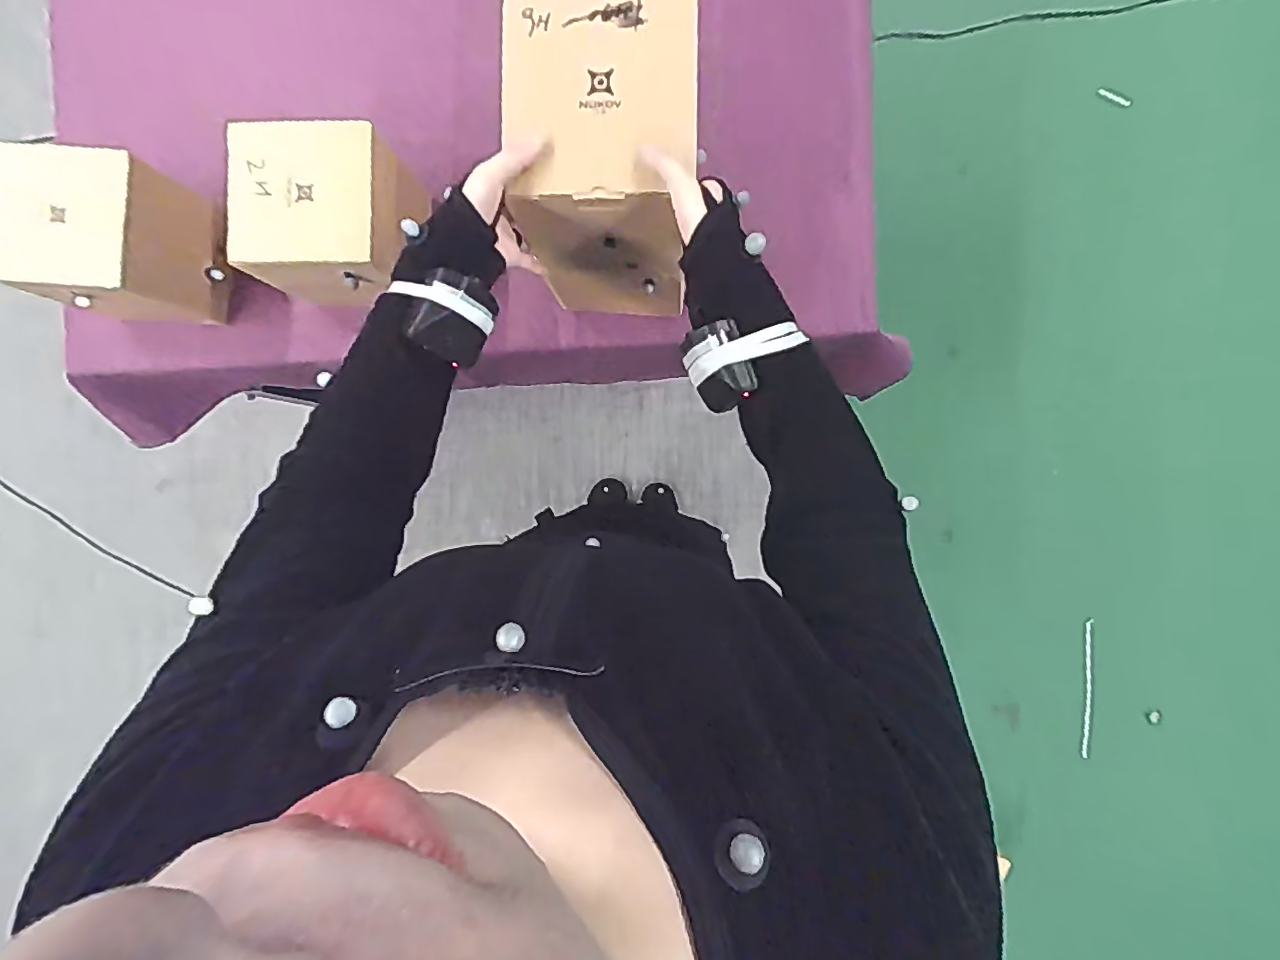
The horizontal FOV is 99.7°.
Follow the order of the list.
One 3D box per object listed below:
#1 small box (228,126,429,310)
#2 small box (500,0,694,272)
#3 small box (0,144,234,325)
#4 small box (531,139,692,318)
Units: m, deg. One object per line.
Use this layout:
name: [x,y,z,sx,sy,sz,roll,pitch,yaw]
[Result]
small box: [-0.395,-0.333,0.715,0.179,0.176,0.168,1,90,2]
small box: [-0.034,-0.319,0.537,0.168,0.176,0.179,1,91,2]
small box: [-0.695,-0.316,0.728,0.179,0.176,0.168,5,91,2]
small box: [-0.030,-0.319,0.701,0.179,0.176,0.168,5,90,2]
